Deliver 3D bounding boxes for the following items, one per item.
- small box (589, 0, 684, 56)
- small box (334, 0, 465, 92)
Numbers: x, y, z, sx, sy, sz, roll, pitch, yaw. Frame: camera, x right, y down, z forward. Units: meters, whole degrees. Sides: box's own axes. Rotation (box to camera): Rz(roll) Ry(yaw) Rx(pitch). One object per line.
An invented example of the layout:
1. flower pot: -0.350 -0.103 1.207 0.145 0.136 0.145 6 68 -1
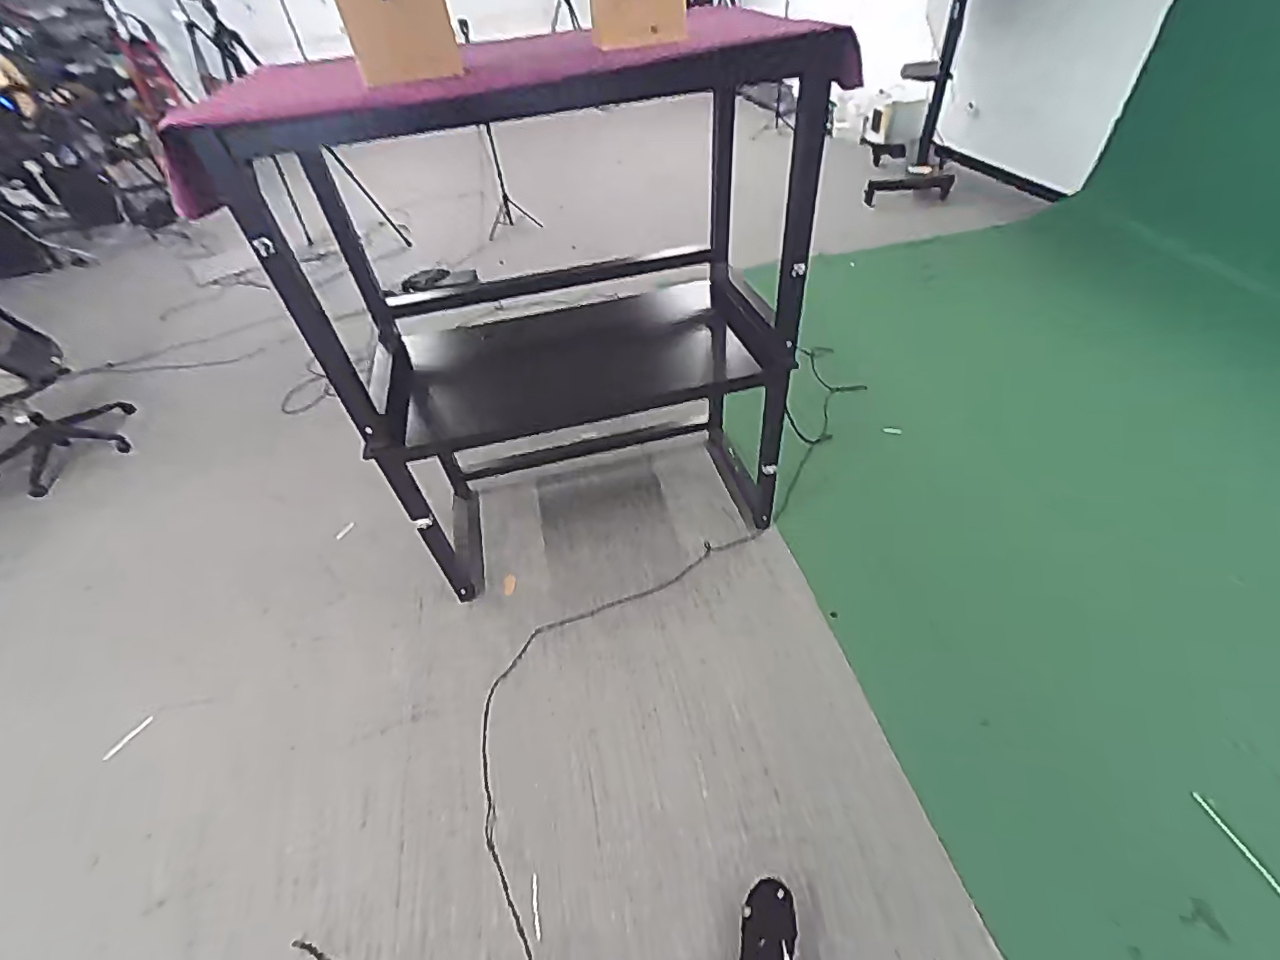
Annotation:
1. small box: -0.011 -0.948 1.056 0.168 0.176 0.179 -11 43 -3
2. small box: -0.428 -0.810 0.963 0.179 0.176 0.168 -16 45 -9
